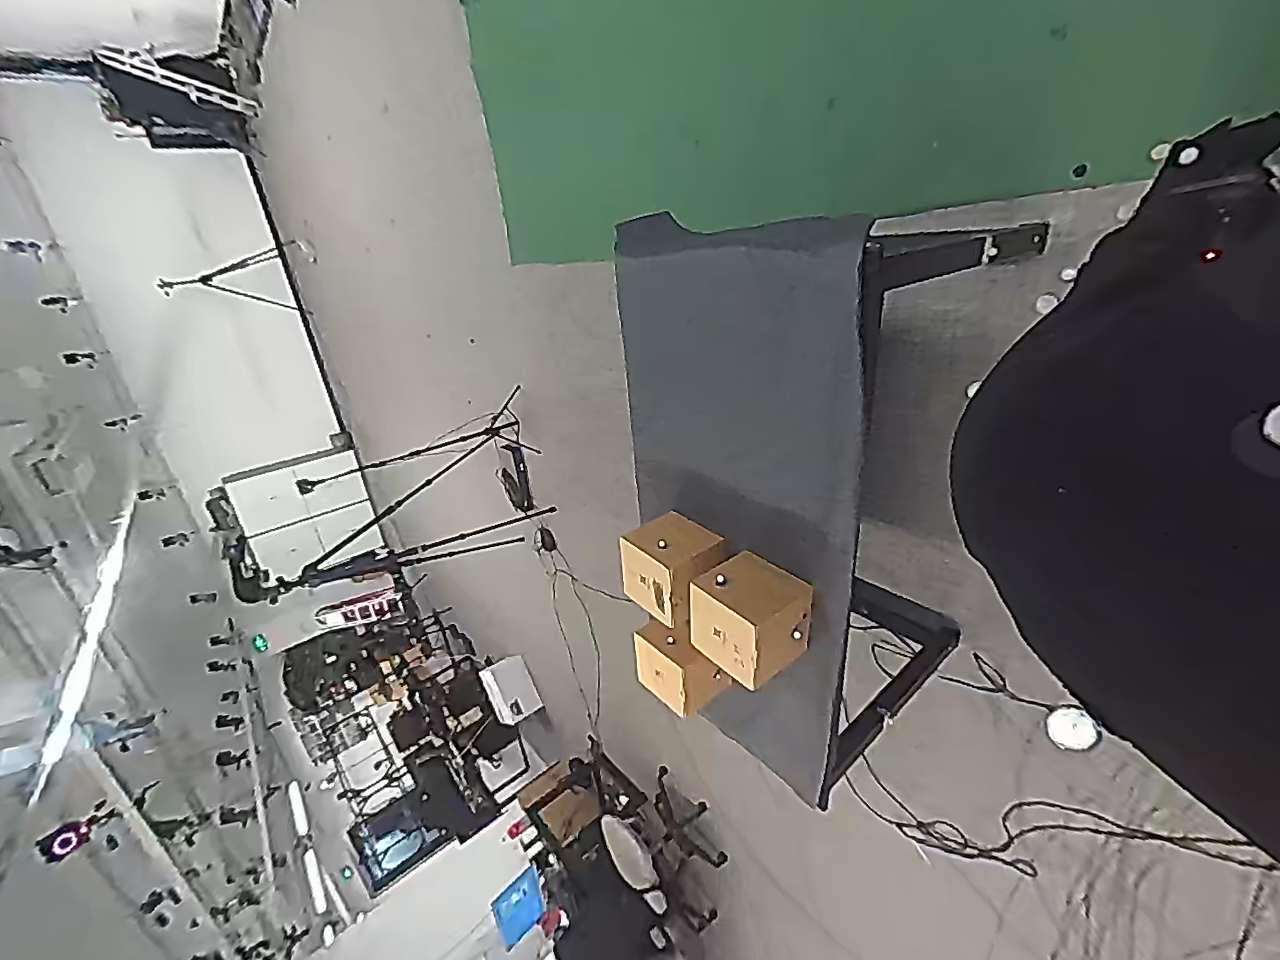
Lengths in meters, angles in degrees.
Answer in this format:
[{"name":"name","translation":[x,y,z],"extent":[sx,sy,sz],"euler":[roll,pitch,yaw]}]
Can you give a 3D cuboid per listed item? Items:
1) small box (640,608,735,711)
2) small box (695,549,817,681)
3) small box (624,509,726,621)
[{"name":"small box","translation":[0.121,0.432,1.362],"extent":[0.179,0.176,0.168],"euler":[23,128,45]},{"name":"small box","translation":[0.231,0.262,1.098],"extent":[0.179,0.176,0.168],"euler":[26,130,45]},{"name":"small box","translation":[0.085,0.188,1.259],"extent":[0.179,0.176,0.168],"euler":[26,130,44]}]
